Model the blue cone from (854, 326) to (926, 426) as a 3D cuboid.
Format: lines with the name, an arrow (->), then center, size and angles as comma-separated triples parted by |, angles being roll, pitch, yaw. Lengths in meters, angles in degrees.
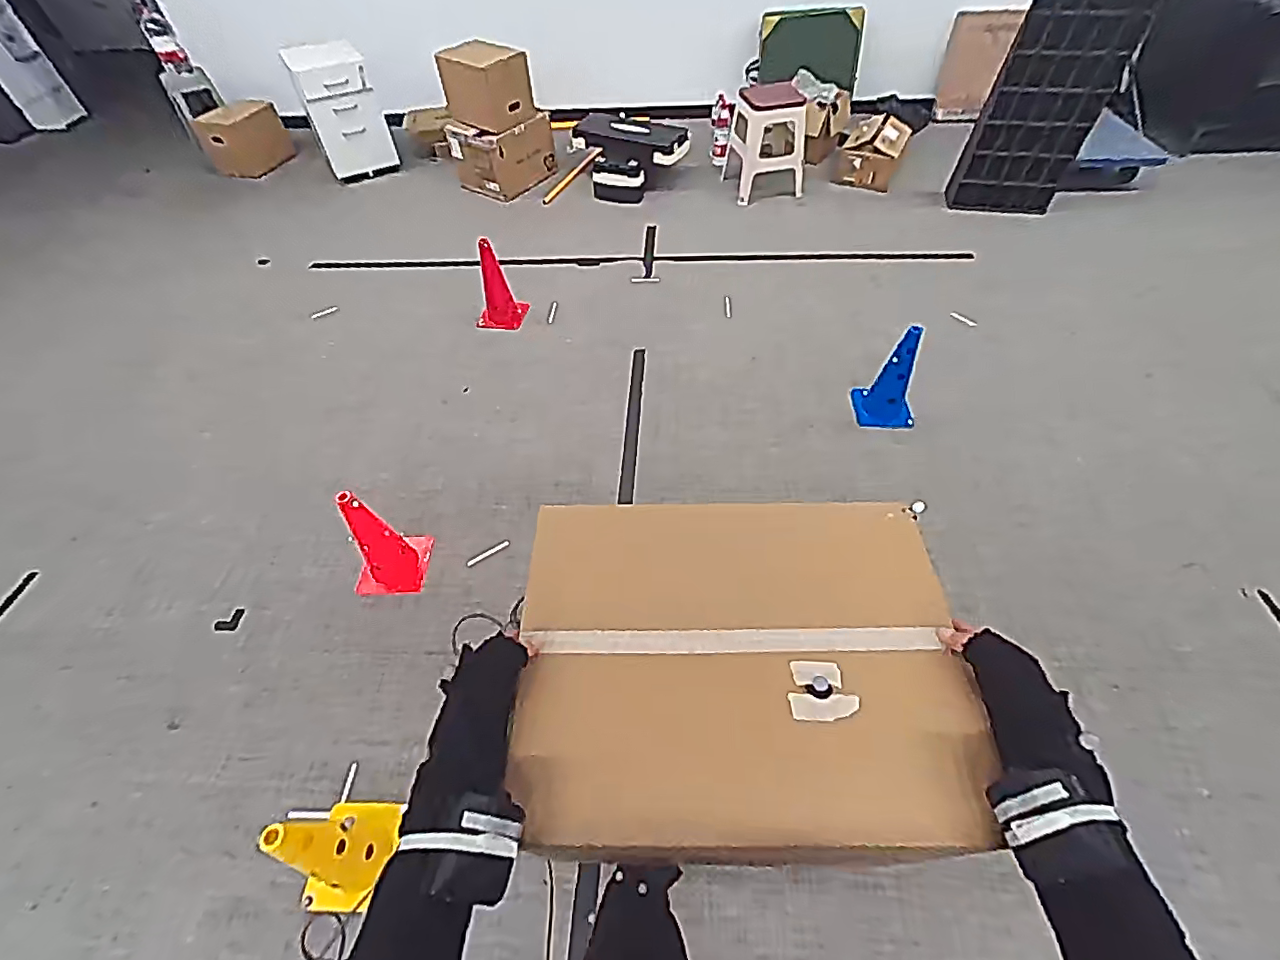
blue cone -> 0.906, -0.375, 1.903 | 0.192, 0.380, 0.193 | 4, 52, 4

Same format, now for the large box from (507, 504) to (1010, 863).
large box -> 0.092, 0.244, 0.628 | 0.408, 0.320, 0.320 | -1, 53, 1

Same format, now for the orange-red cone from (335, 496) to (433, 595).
orange-red cone -> -0.761, 0.163, 1.538 | 0.198, 0.360, 0.199 | -2, 53, 2

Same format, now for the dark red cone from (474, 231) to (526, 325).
dark red cone -> -0.635, -0.868, 2.321 | 0.201, 0.394, 0.202 | 6, 52, 6
